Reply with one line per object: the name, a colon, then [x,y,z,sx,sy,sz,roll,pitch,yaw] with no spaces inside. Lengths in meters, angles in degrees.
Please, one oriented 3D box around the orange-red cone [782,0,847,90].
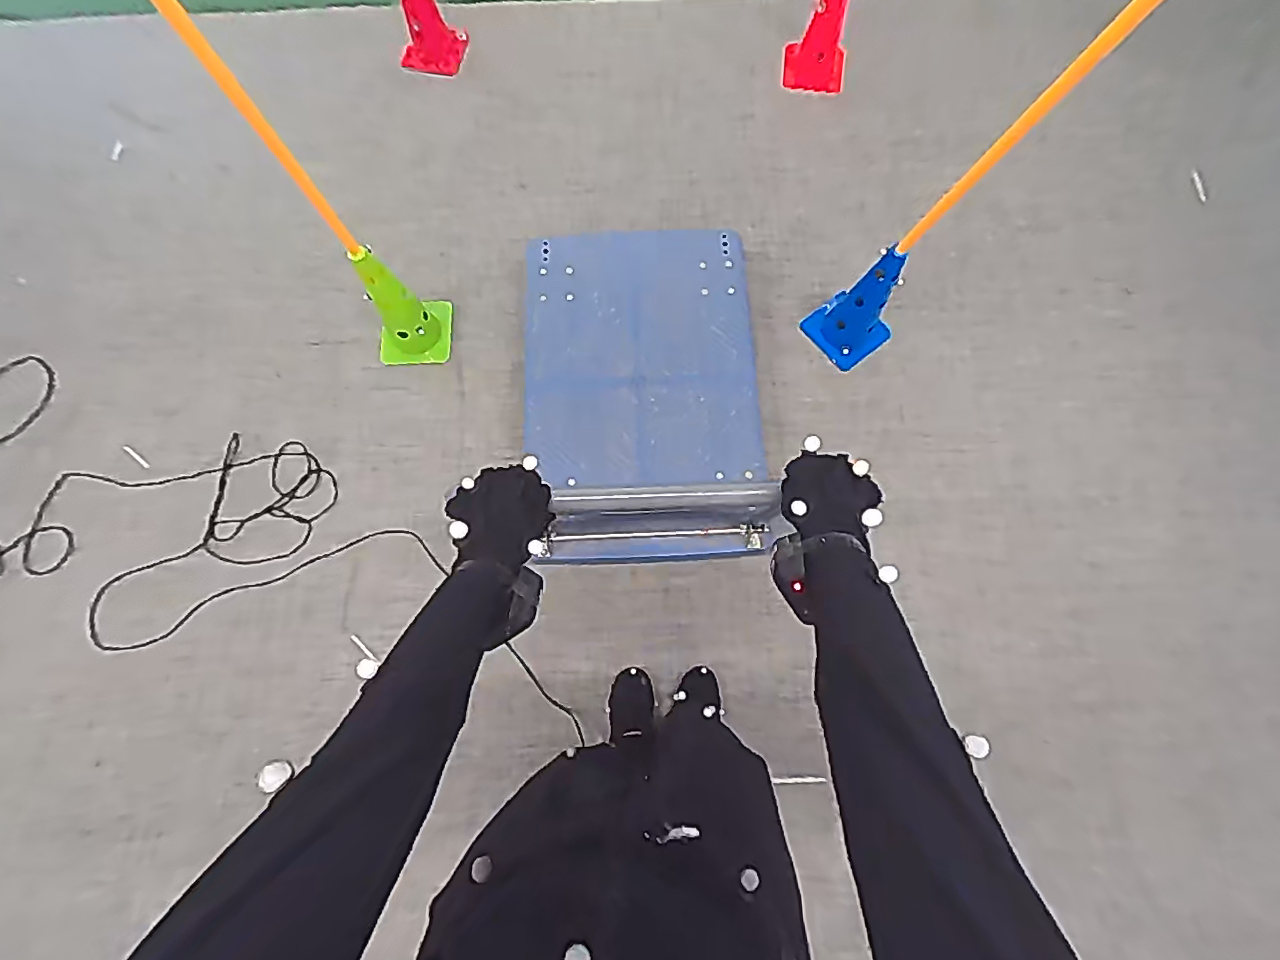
orange-red cone: [0.577,-1.429,1.640,0.198,0.360,0.199,9,77,4]
